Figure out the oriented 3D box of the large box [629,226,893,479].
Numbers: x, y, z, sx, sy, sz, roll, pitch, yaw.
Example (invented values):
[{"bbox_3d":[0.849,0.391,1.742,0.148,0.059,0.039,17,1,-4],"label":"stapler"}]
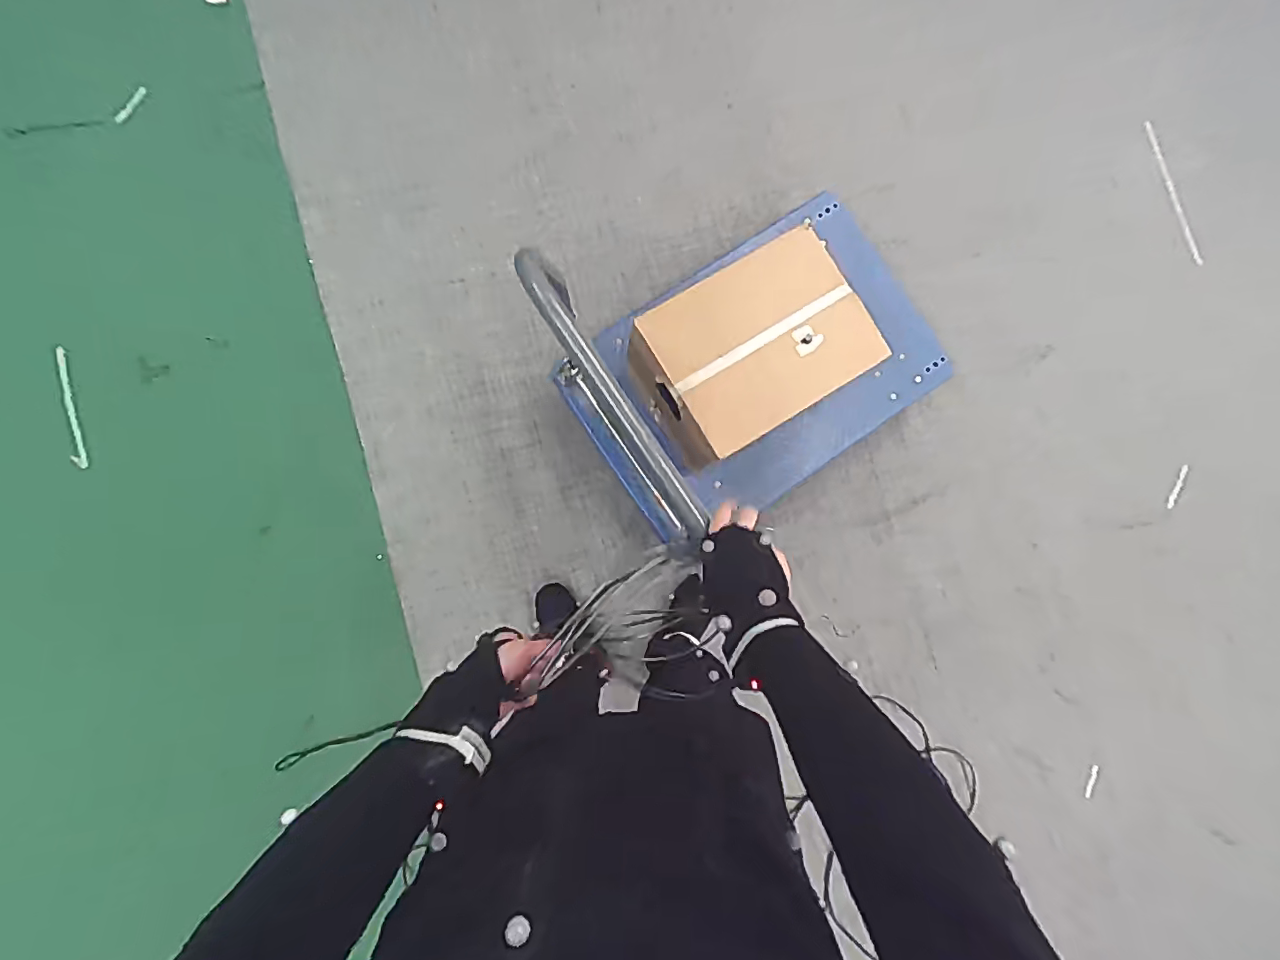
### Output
[{"bbox_3d":[0.227,-0.245,1.161,0.408,0.320,0.320,-32,89,-7],"label":"large box"}]
